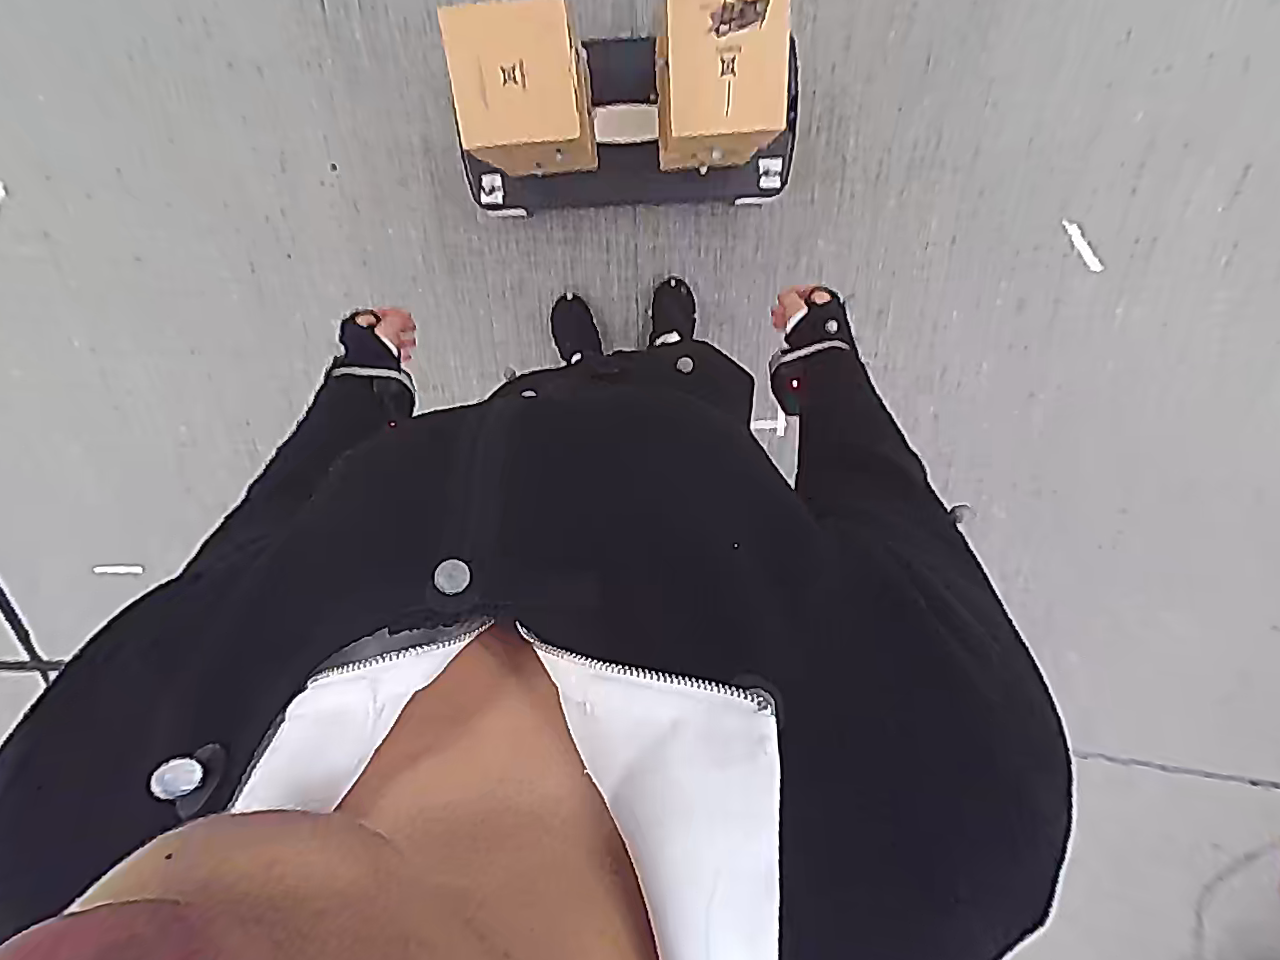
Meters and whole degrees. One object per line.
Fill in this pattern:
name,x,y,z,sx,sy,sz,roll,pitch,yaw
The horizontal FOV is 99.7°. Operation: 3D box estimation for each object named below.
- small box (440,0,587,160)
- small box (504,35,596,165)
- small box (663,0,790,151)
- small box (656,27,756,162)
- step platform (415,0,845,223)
small box,-0.177,-0.599,0.825,0.179,0.176,0.168,-5,113,2
small box,-0.176,-0.666,0.974,0.179,0.176,0.168,-4,114,2
small box,0.122,-0.615,0.815,0.168,0.176,0.179,-3,115,2
small box,0.114,-0.678,0.967,0.168,0.176,0.179,-3,114,2
step platform,-0.016,-0.625,0.952,0.684,0.204,0.286,-2,113,1
